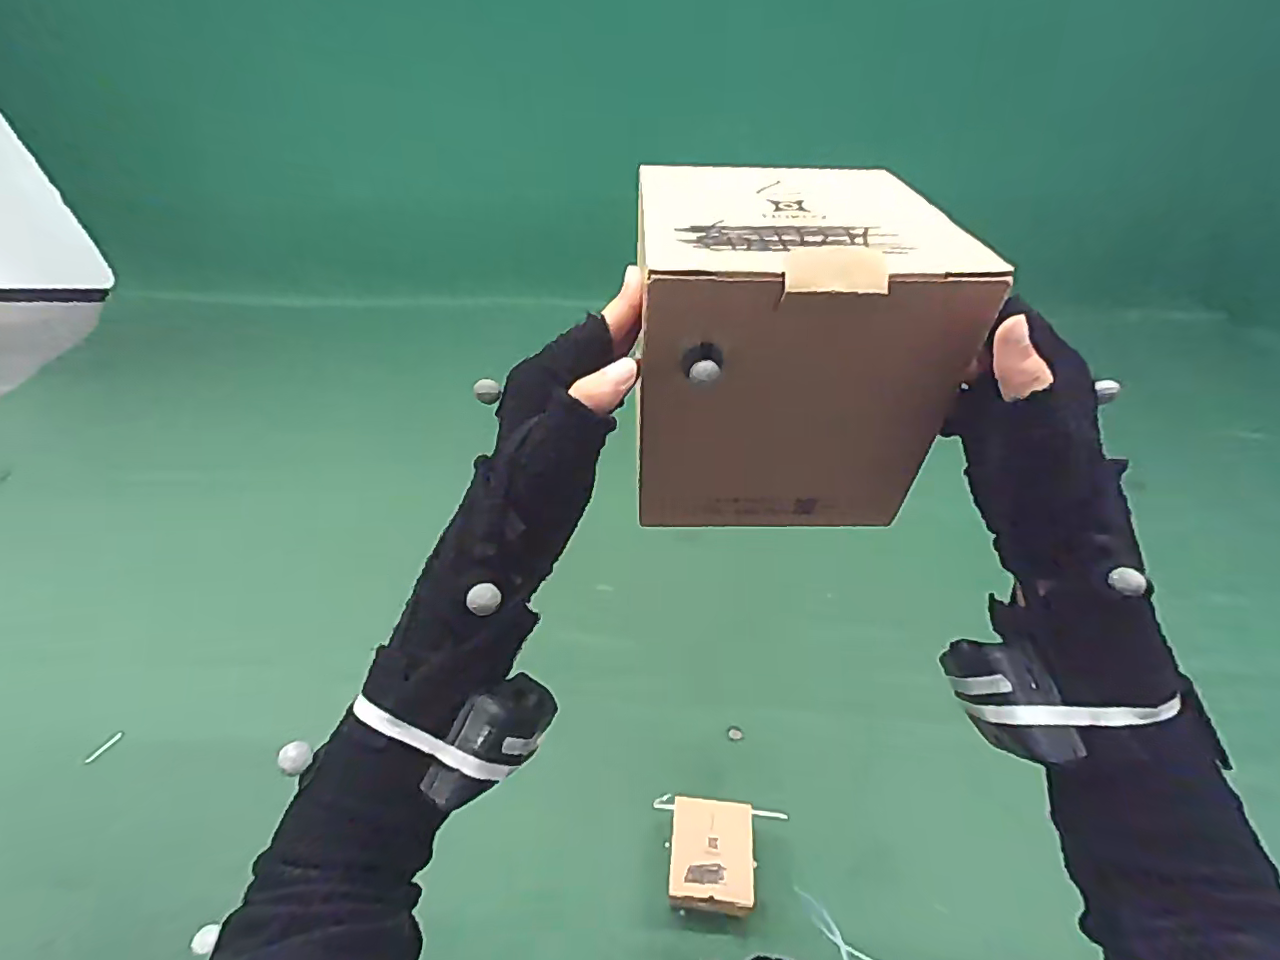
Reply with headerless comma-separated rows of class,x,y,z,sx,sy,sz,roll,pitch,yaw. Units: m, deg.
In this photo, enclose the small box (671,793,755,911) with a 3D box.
small box,0.156,0.802,1.163,0.168,0.176,0.179,4,46,6
